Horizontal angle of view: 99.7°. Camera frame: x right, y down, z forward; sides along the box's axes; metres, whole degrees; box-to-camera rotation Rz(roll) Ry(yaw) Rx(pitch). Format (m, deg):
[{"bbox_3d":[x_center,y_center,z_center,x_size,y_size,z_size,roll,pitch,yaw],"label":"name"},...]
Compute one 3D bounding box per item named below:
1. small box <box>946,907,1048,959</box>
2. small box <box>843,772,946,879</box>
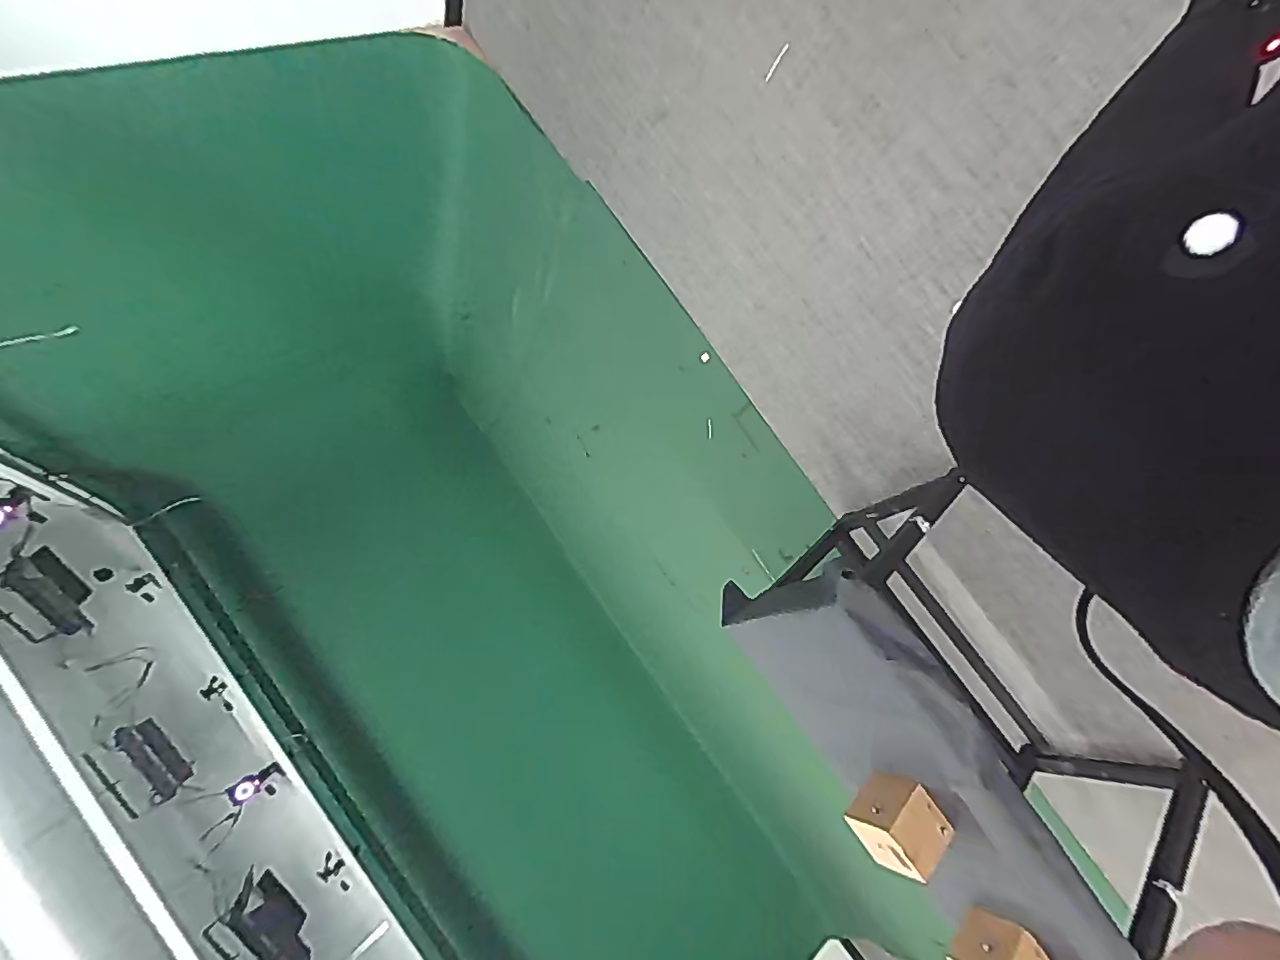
[{"bbox_3d":[1.000,1.334,1.489,0.168,0.176,0.179,54,151,4],"label":"small box"},{"bbox_3d":[0.718,0.953,1.512,0.168,0.176,0.179,54,152,2],"label":"small box"}]
